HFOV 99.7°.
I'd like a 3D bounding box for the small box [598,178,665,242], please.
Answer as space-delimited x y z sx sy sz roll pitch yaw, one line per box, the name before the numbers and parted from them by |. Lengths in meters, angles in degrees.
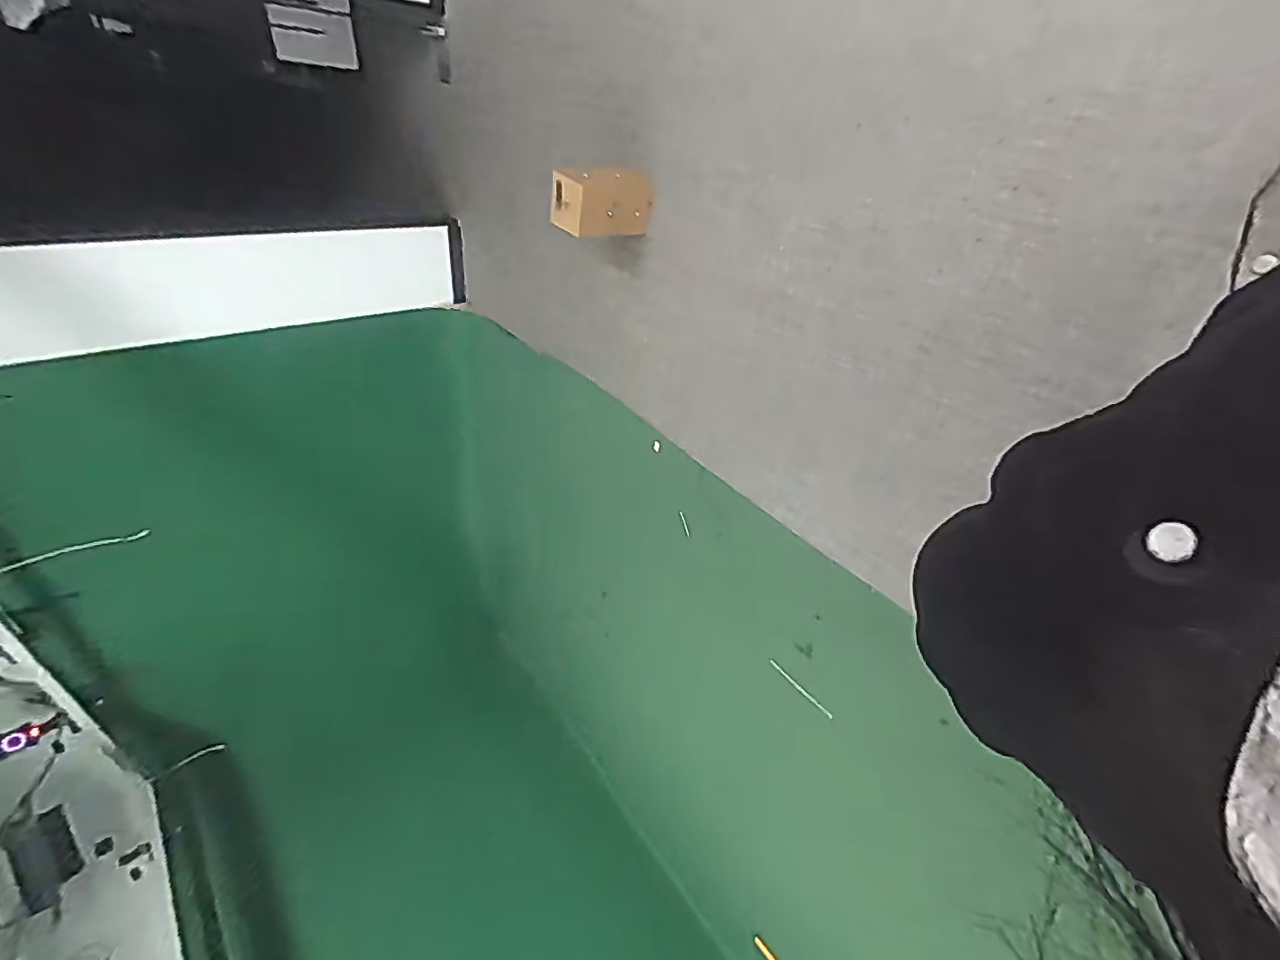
small box | -0.031 -1.005 2.005 0.179 0.176 0.168 45 139 30
